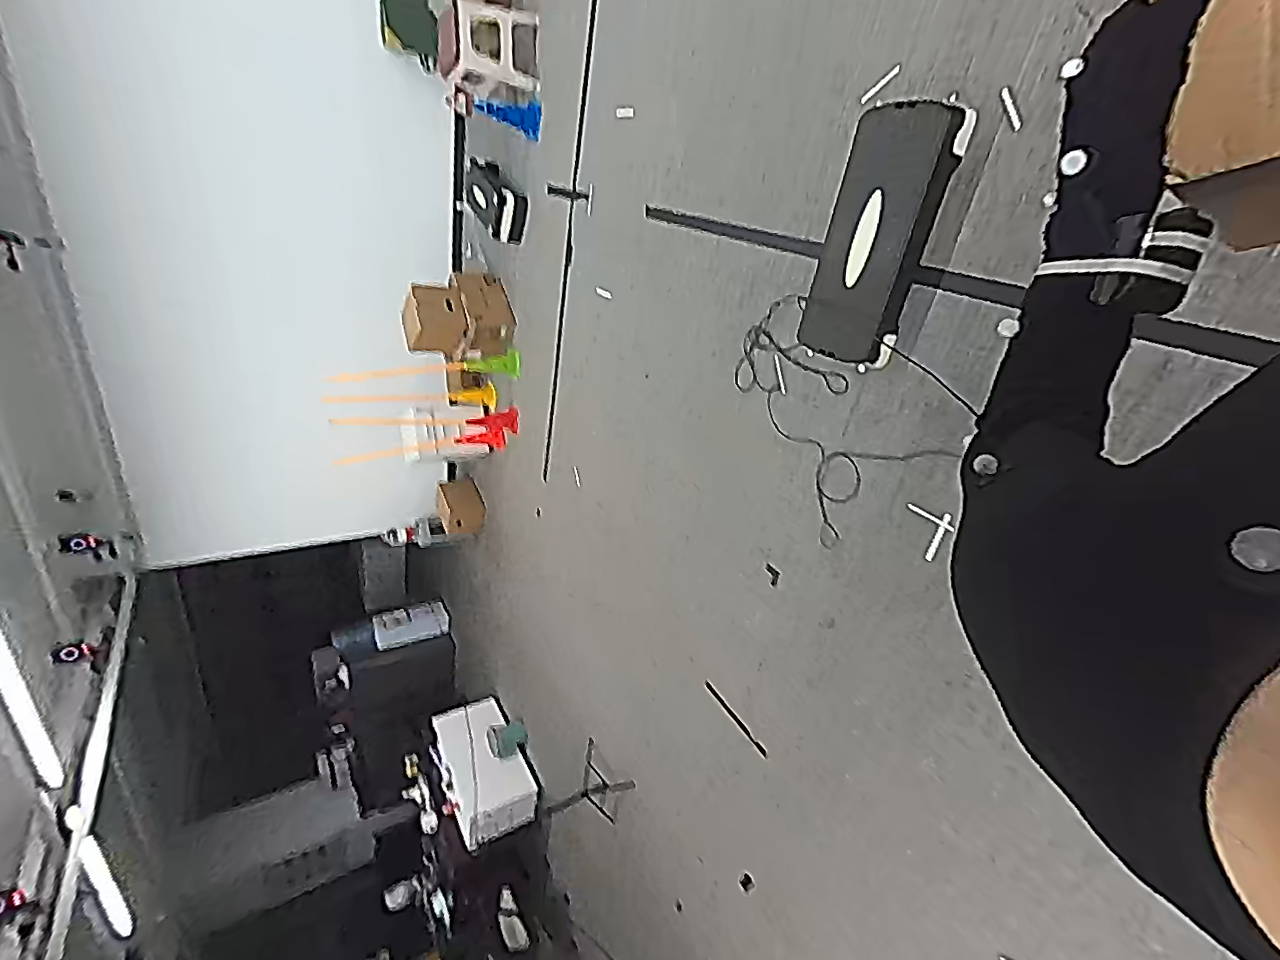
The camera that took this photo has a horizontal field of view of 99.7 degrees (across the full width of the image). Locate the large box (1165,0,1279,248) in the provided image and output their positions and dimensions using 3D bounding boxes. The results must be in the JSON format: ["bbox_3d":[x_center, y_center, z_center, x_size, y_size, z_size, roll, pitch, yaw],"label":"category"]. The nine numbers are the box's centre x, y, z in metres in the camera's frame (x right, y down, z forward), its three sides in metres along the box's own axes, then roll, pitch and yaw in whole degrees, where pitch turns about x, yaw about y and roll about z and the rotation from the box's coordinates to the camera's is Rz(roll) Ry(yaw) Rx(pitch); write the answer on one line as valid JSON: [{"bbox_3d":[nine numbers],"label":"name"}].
[{"bbox_3d":[0.598,-0.374,0.305,0.408,0.320,0.320,1,97,53],"label":"large box"}]
